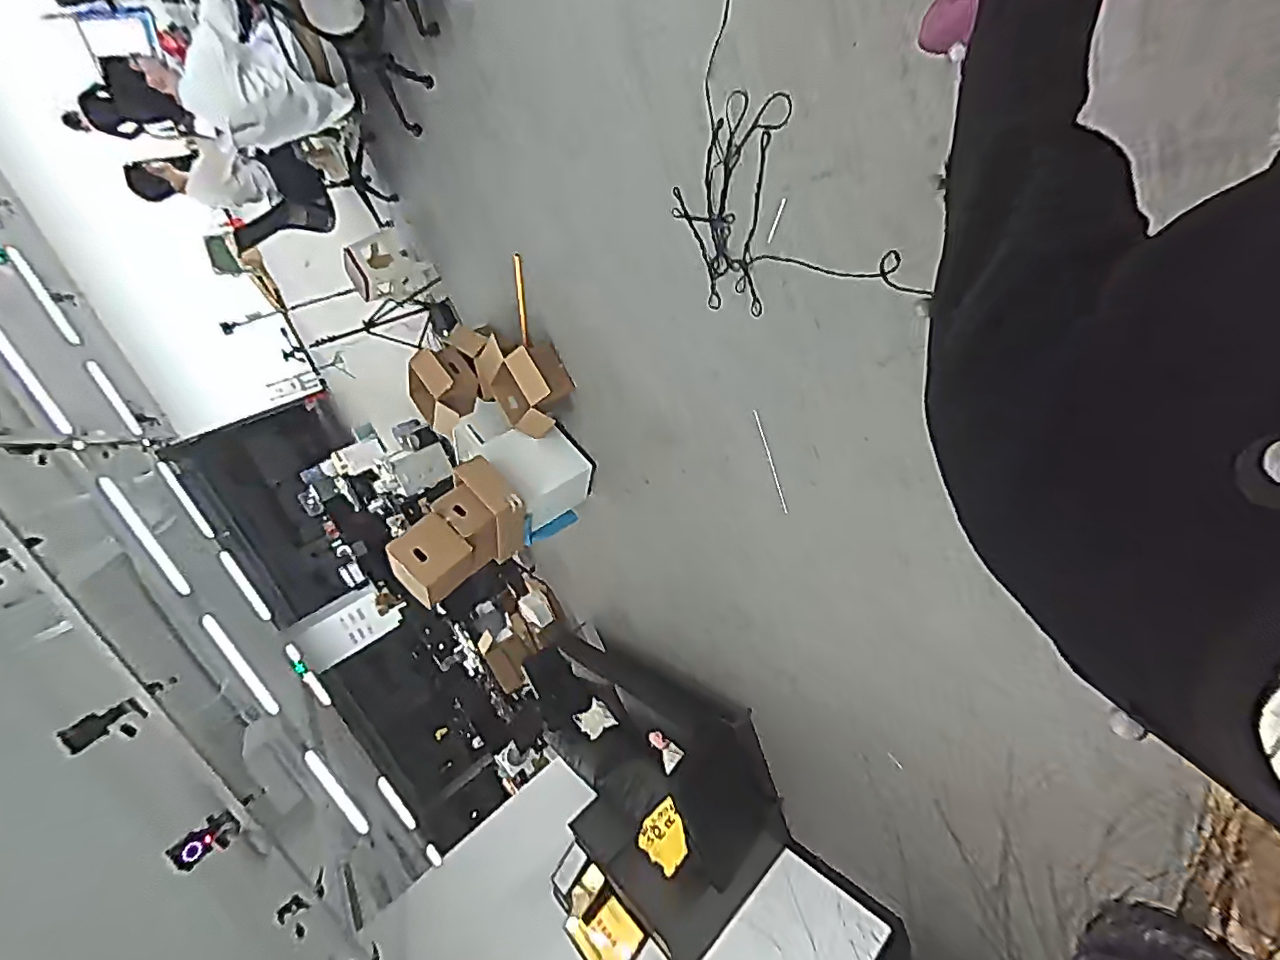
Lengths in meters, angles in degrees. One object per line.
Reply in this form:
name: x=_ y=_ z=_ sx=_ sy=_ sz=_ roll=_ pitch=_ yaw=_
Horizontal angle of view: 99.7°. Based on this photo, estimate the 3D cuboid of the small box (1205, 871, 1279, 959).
small box: x=1.511 y=1.086 z=1.282 sx=0.168 sy=0.176 sz=0.179 roll=30 pitch=140 yaw=41
